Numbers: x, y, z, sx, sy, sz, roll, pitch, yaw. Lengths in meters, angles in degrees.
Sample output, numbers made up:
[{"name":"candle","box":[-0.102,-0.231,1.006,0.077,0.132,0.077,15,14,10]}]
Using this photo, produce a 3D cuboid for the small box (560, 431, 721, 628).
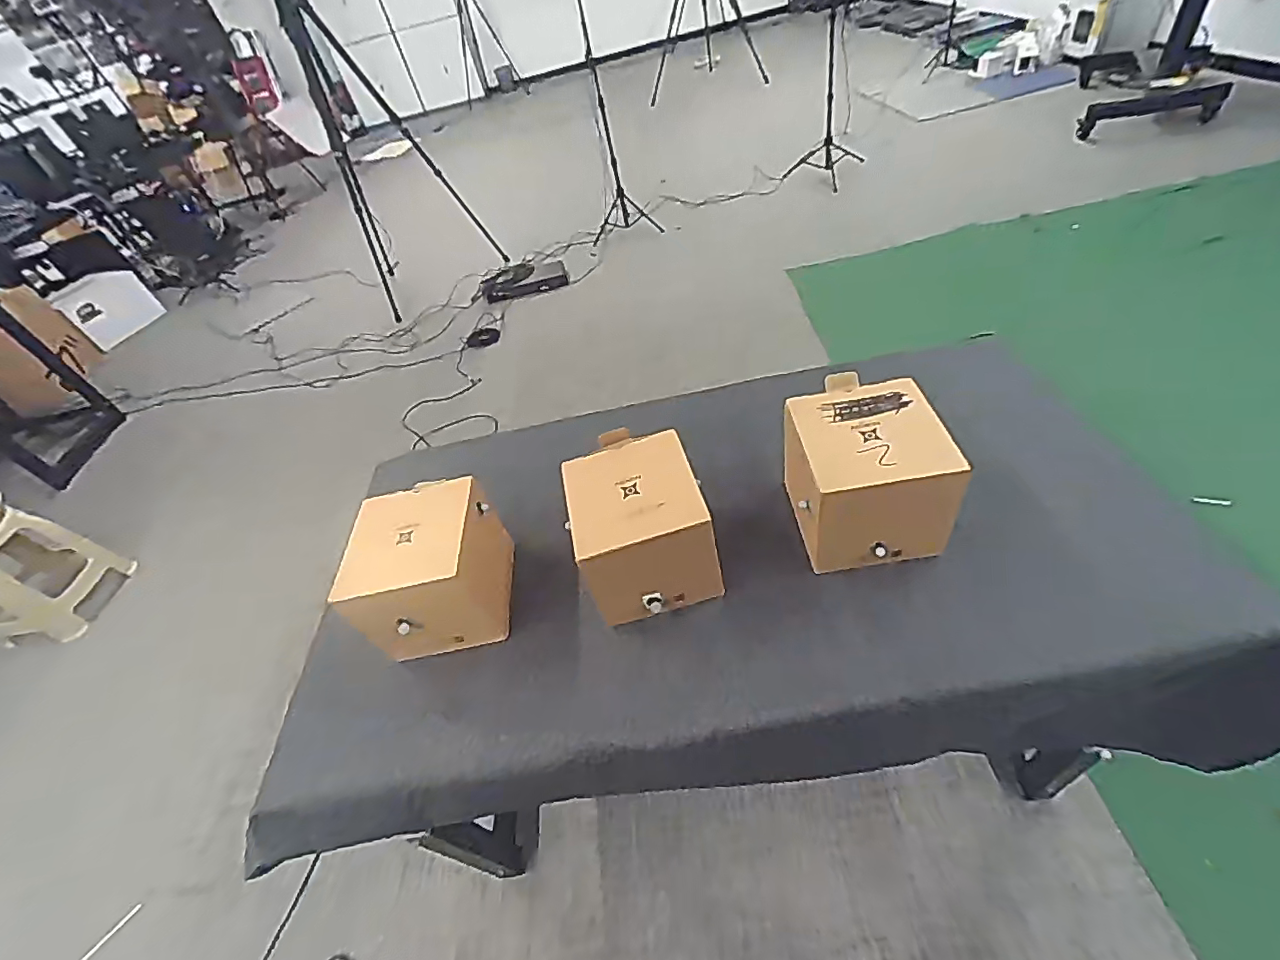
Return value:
[{"name":"small box","box":[0.001,0.068,0.732,0.168,0.176,0.179,-18,45,0]}]

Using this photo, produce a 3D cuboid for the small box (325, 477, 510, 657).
[{"name":"small box","box":[-0.291,0.128,0.754,0.168,0.176,0.179,-13,44,3]}]
